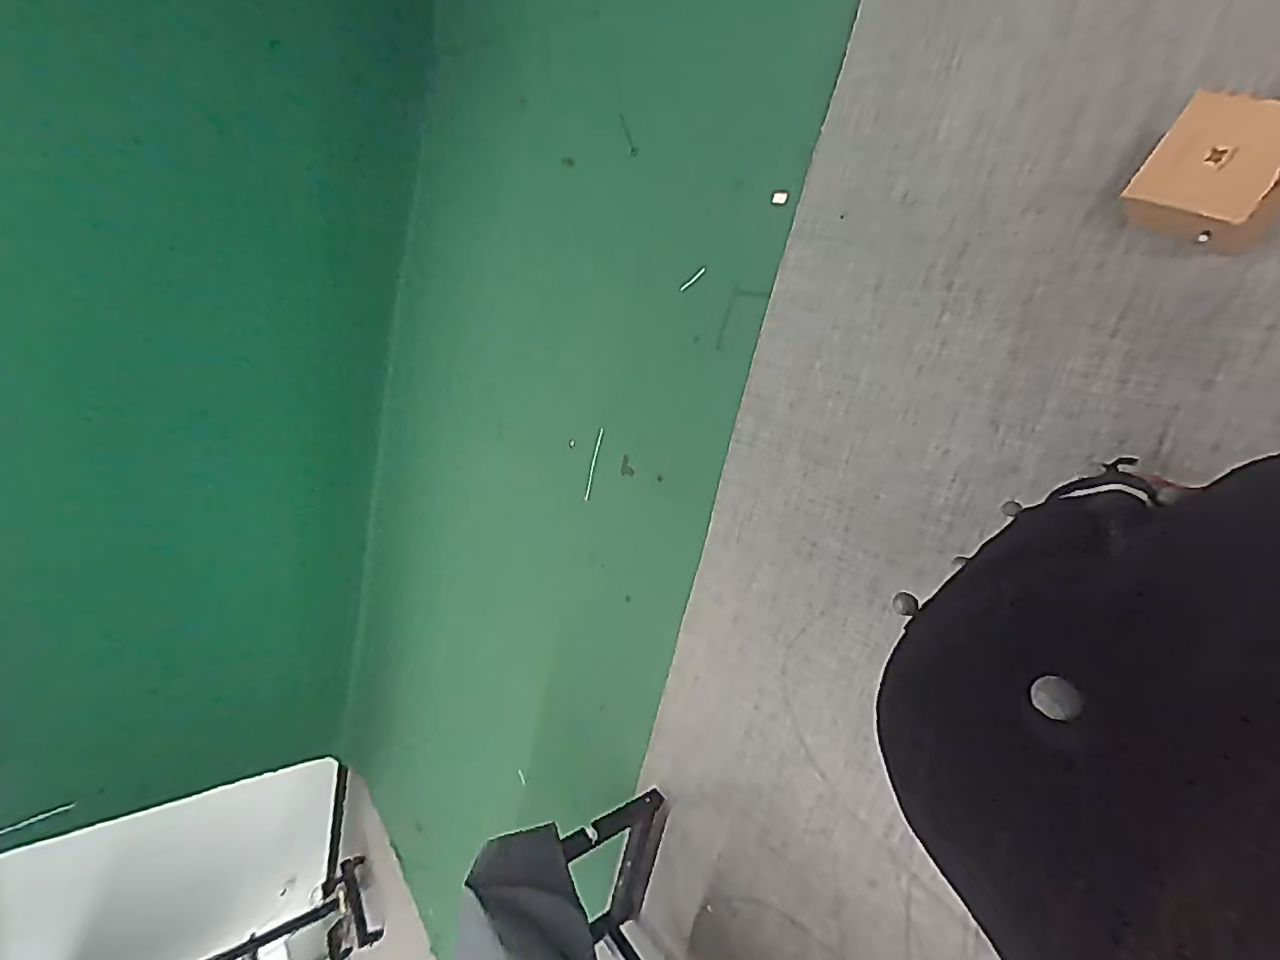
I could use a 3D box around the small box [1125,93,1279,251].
[{"bbox_3d":[0.970,-0.499,0.891,0.179,0.176,0.168,48,122,41],"label":"small box"}]
